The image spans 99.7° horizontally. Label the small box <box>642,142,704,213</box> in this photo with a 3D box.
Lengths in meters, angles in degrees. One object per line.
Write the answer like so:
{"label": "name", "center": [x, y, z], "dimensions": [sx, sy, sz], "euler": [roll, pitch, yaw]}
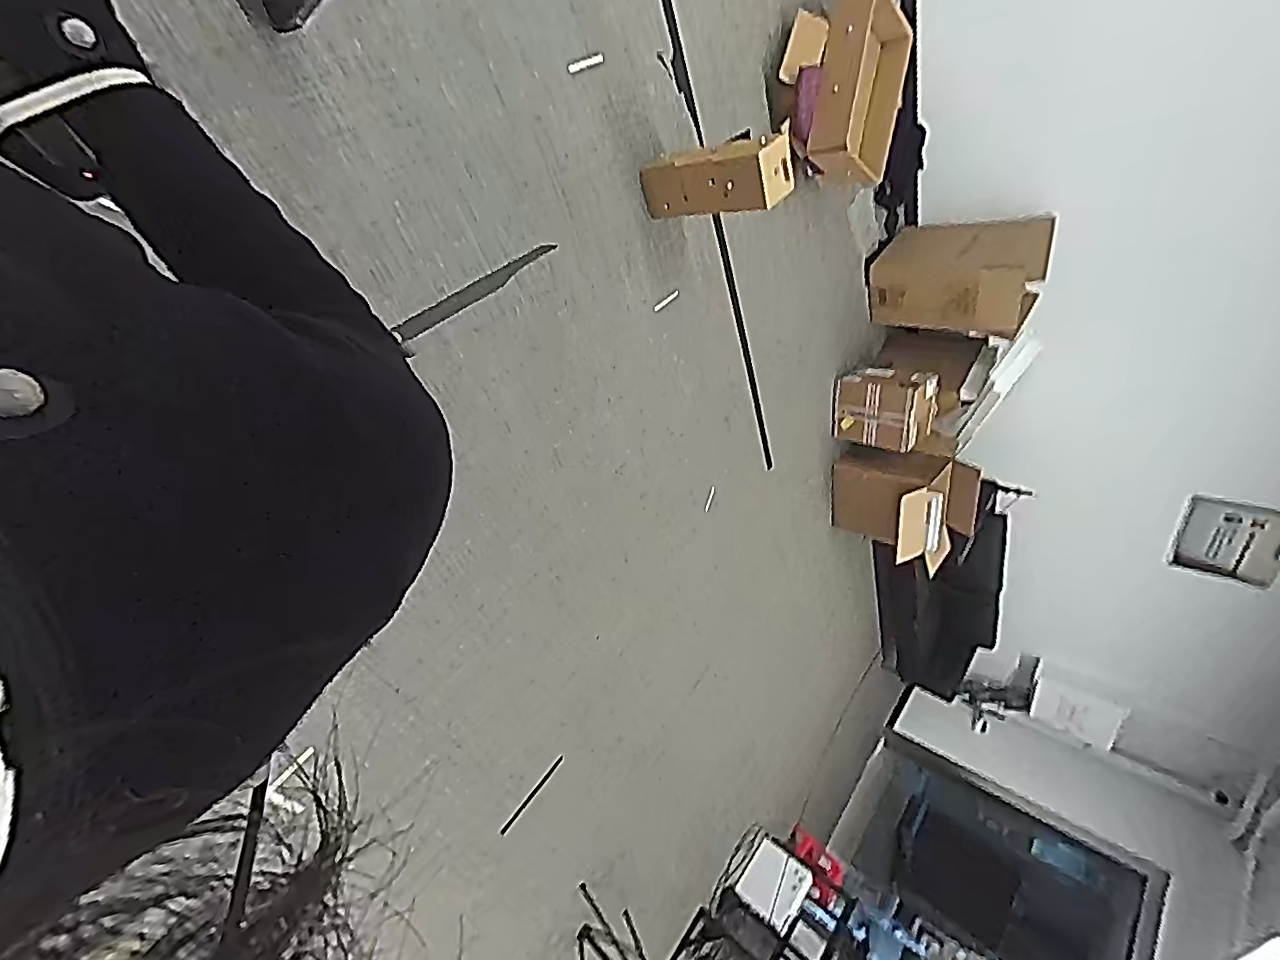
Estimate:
{"label": "small box", "center": [0.138, -1.069, 1.927], "dimensions": [0.168, 0.176, 0.179], "euler": [-46, 131, -27]}

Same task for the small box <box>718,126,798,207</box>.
{"label": "small box", "center": [0.373, -0.988, 1.711], "dimensions": [0.179, 0.176, 0.168], "euler": [-46, 132, -26]}

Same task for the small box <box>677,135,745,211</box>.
{"label": "small box", "center": [0.254, -1.030, 1.818], "dimensions": [0.179, 0.176, 0.168], "euler": [-47, 133, -27]}
